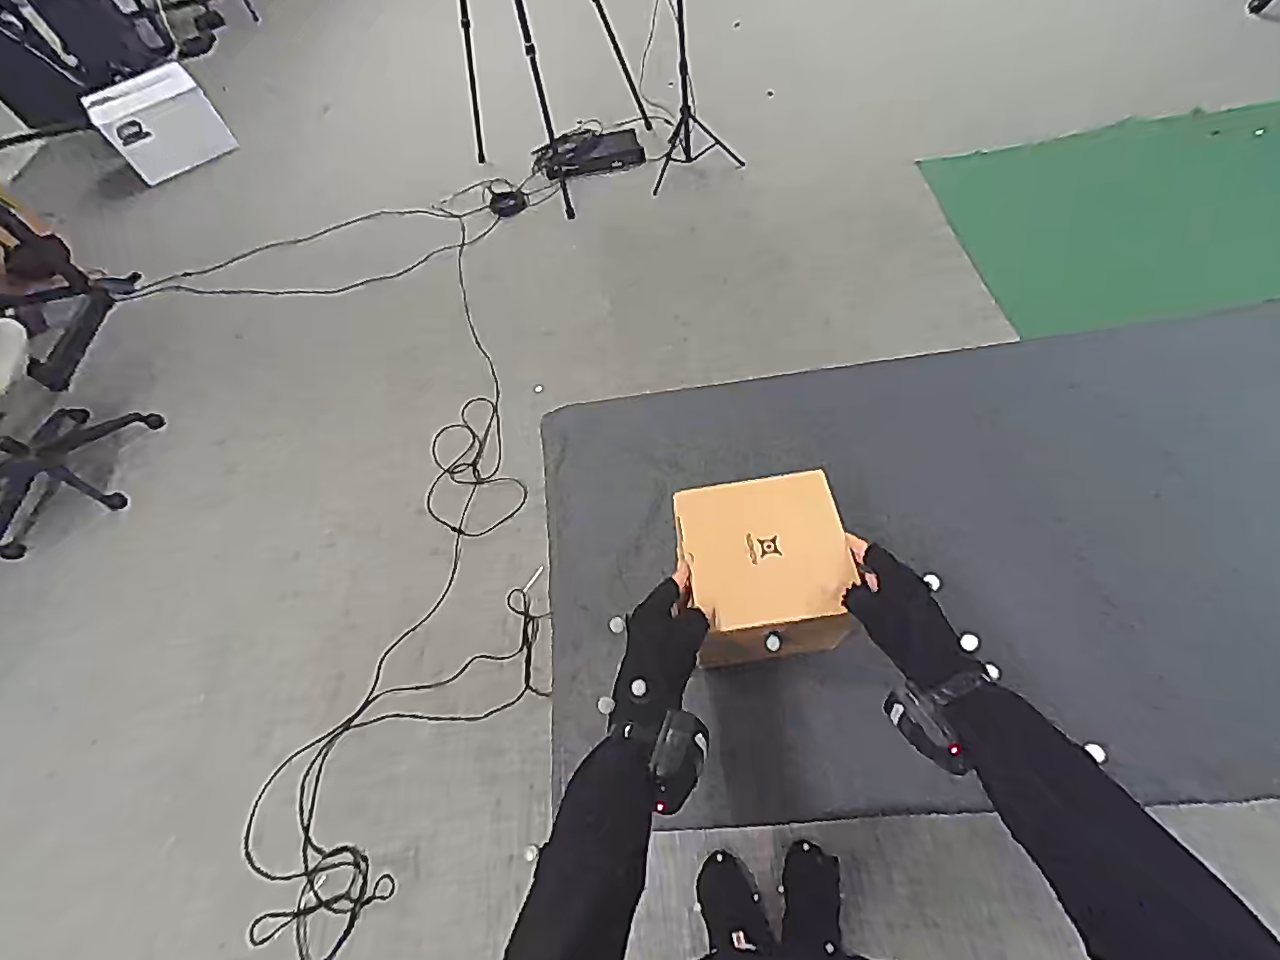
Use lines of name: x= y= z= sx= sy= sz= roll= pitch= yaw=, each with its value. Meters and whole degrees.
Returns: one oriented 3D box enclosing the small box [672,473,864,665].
small box: x=0.138 y=0.113 z=0.647 sx=0.179 sy=0.176 sz=0.168 roll=-10 pitch=59 yaw=3
